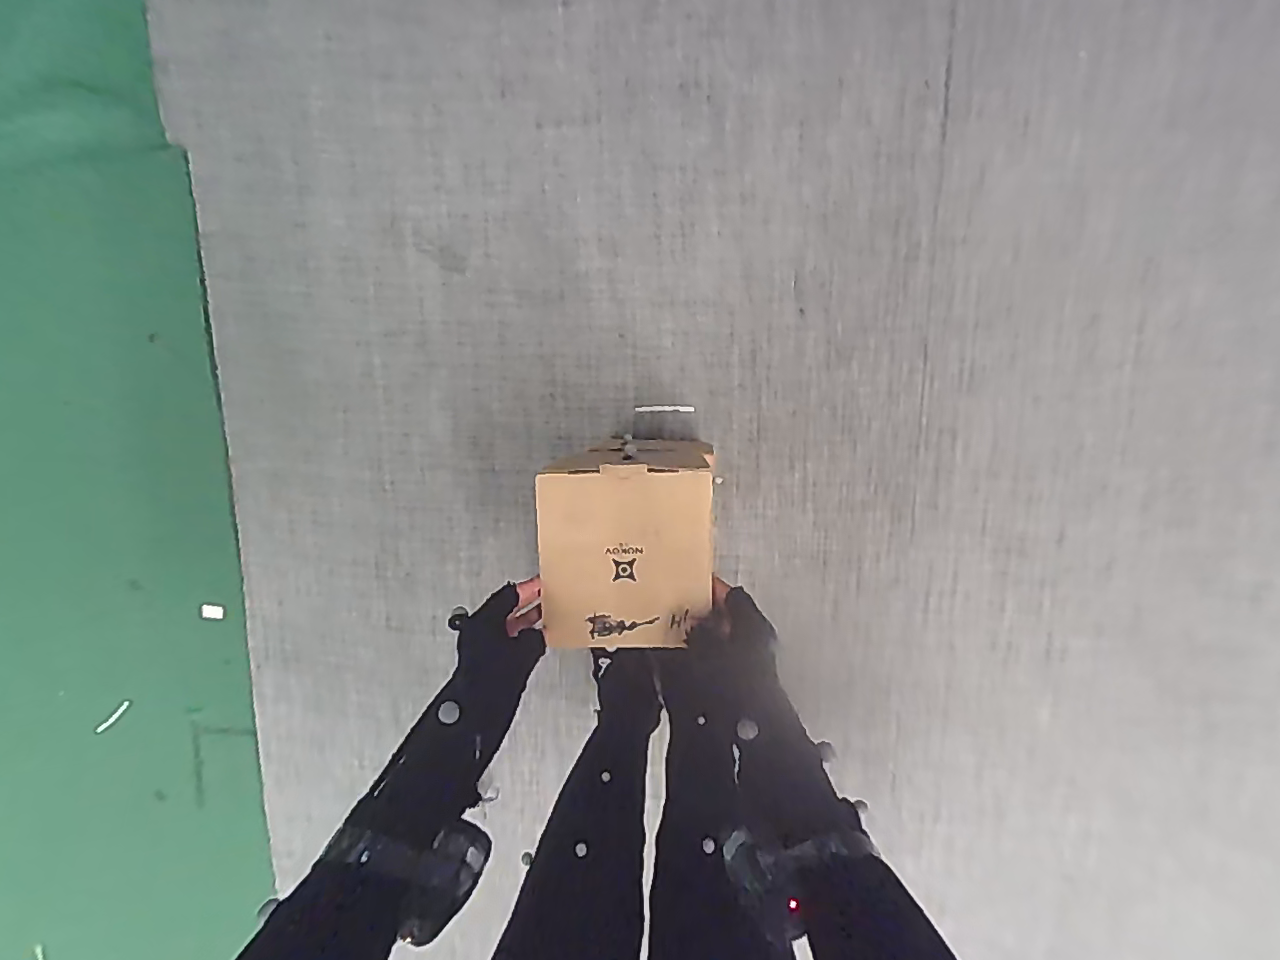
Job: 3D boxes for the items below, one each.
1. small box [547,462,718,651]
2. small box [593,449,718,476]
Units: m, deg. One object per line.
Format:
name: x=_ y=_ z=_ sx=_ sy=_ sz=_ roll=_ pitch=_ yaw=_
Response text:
small box: x=-0.005 y=0.071 z=0.598 sx=0.168 sy=0.176 sz=0.179 roll=-1 pitch=97 yaw=3
small box: x=0.024 y=0.048 z=0.779 sx=0.168 sy=0.176 sz=0.179 roll=1 pitch=98 yaw=7
